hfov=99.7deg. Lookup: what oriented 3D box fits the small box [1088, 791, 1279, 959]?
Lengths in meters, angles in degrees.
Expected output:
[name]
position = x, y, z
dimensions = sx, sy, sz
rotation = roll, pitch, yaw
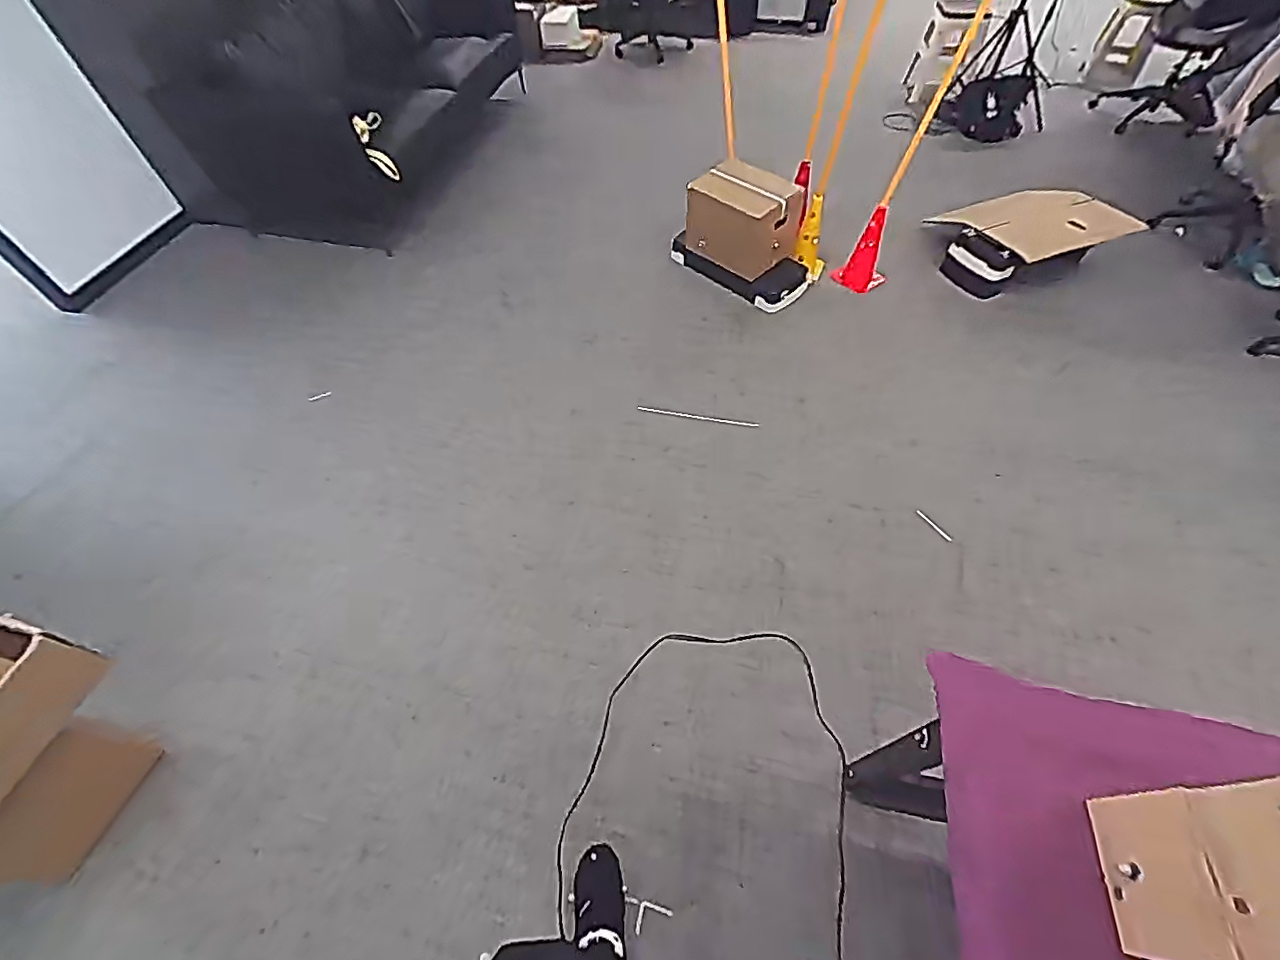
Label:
[small box]
position = 0.674, 0.471, 0.615
dimensions = 0.179, 0.176, 0.168
rotation = 8, 55, 7
